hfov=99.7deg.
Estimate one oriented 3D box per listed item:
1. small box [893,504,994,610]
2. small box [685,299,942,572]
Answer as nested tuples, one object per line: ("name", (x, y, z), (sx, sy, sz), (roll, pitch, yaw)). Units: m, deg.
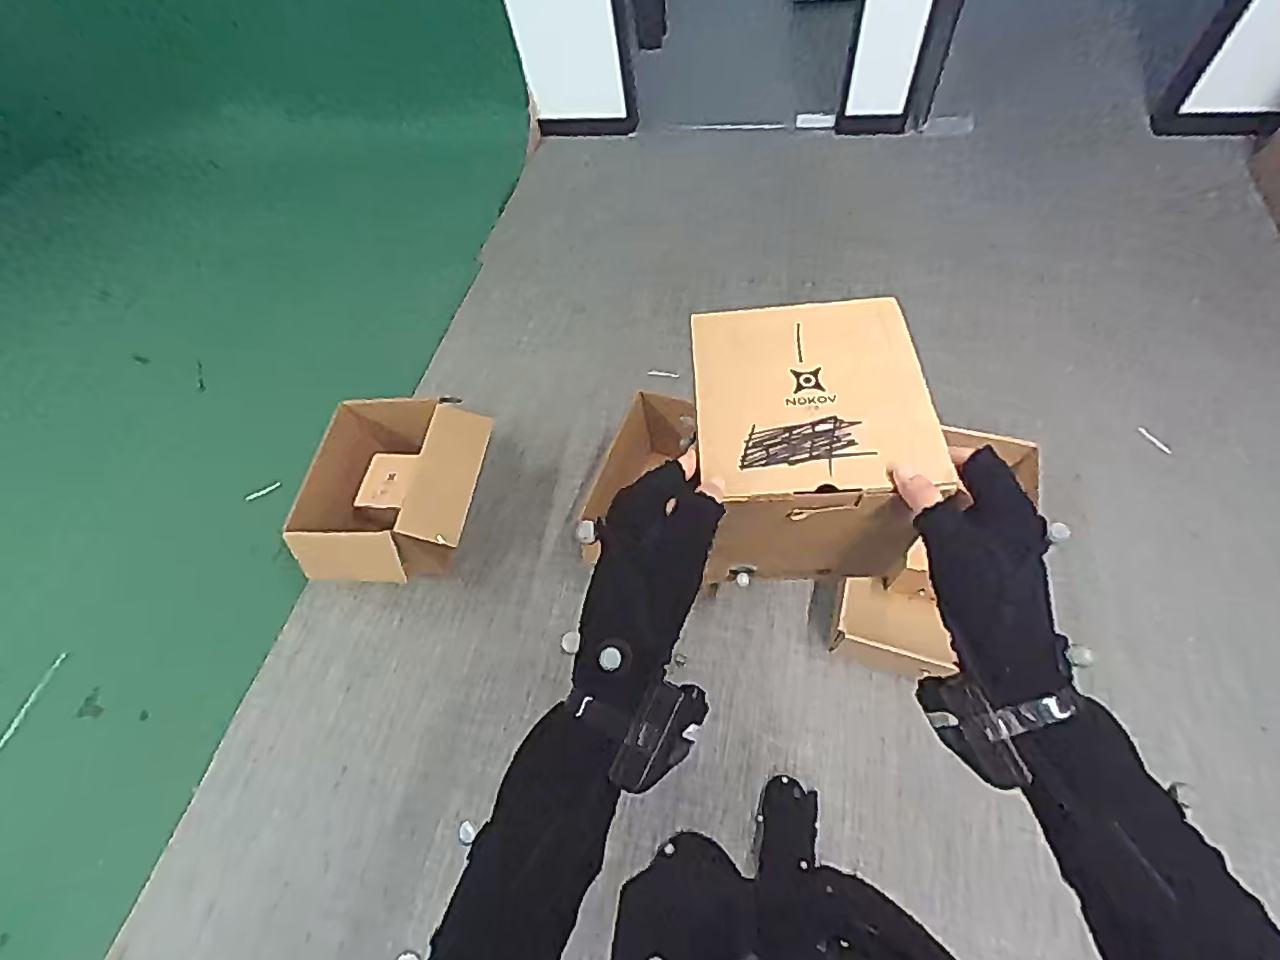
("small box", (0.716, 0.186, 1.286), (0.168, 0.176, 0.179), (13, 63, 15))
("small box", (0.127, -0.026, 0.468), (0.168, 0.176, 0.179), (-3, 59, 6))
